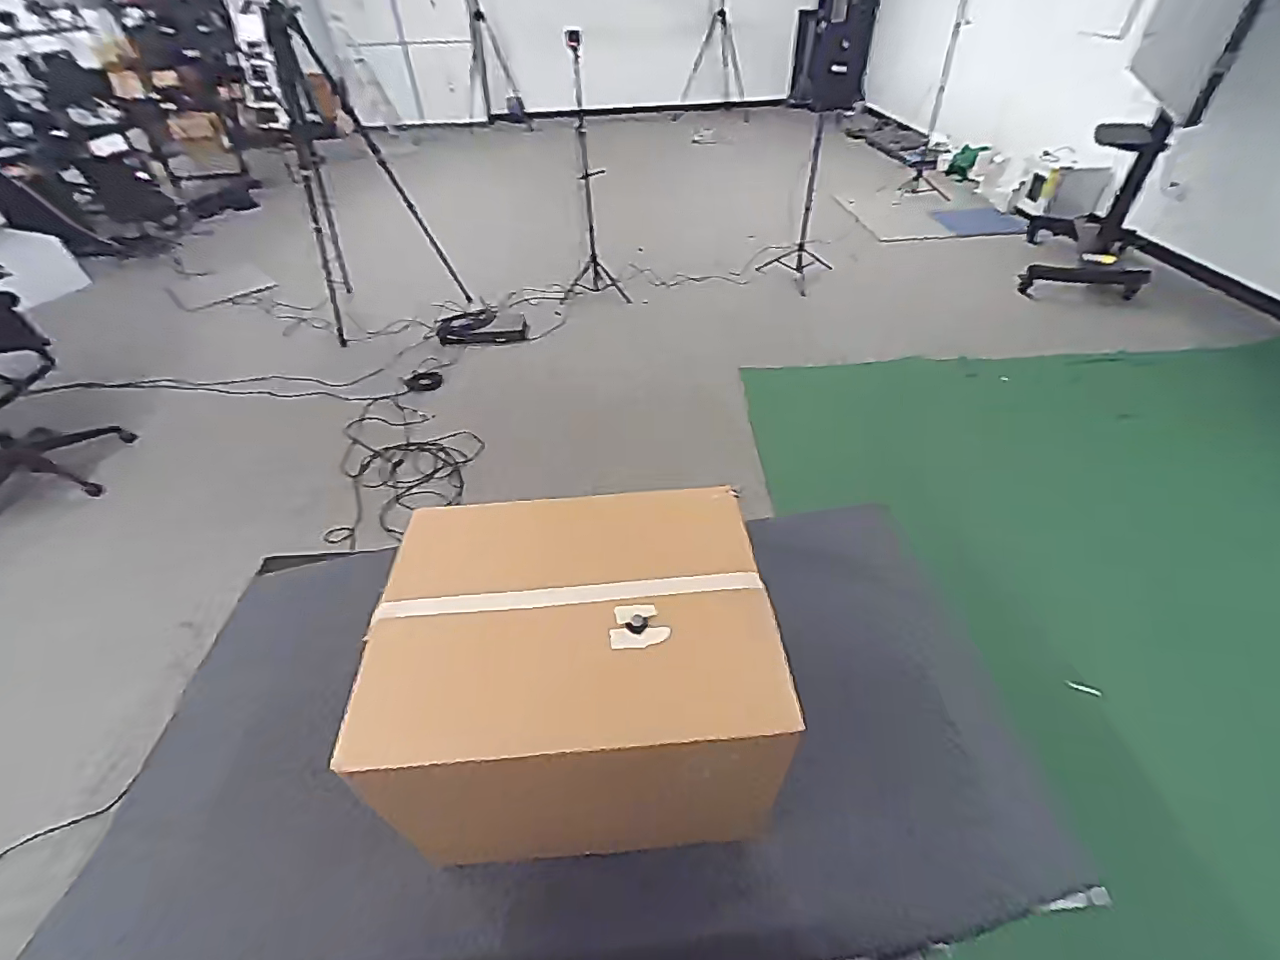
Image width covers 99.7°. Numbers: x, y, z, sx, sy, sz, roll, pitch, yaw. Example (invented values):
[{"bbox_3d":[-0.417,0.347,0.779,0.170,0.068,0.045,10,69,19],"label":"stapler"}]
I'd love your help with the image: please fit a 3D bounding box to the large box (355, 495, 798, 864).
[{"bbox_3d":[-0.062,0.246,0.685,0.408,0.320,0.320,-4,43,-2],"label":"large box"}]
